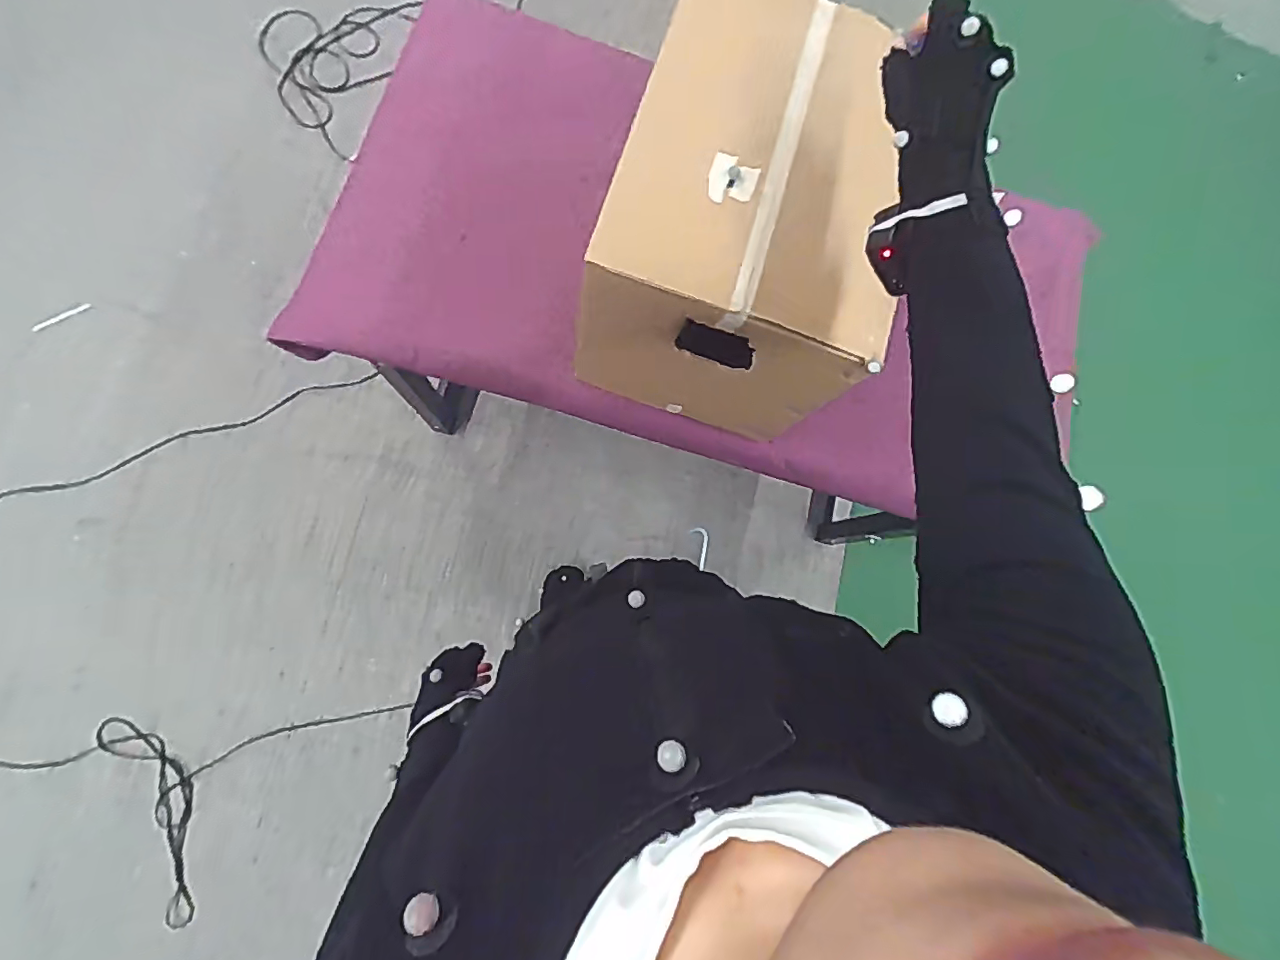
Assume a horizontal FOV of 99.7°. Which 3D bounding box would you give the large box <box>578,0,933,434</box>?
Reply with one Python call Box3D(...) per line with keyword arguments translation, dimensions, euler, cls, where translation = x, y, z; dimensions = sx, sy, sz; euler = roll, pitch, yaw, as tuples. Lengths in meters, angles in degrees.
Box3D(translation=(0.126, -0.325, 0.725), dimensions=(0.320, 0.320, 0.408), euler=(18, 78, -5), cls="large box")
